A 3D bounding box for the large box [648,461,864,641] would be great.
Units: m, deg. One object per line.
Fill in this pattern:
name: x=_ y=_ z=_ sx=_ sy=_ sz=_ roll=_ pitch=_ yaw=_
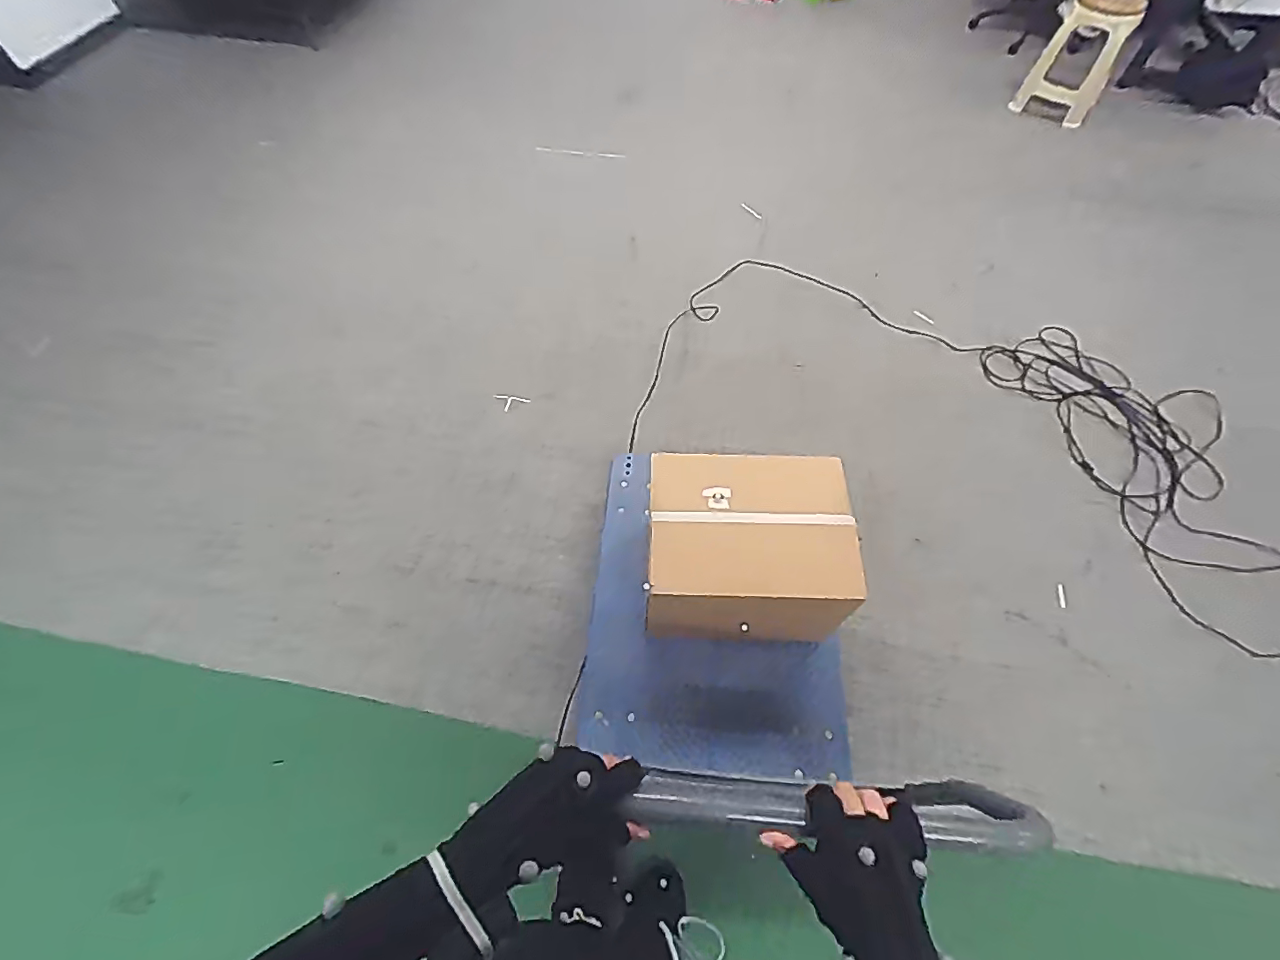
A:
large box: x=0.224 y=0.169 z=1.206 sx=0.408 sy=0.320 sz=0.320 roll=1 pitch=59 yaw=1
